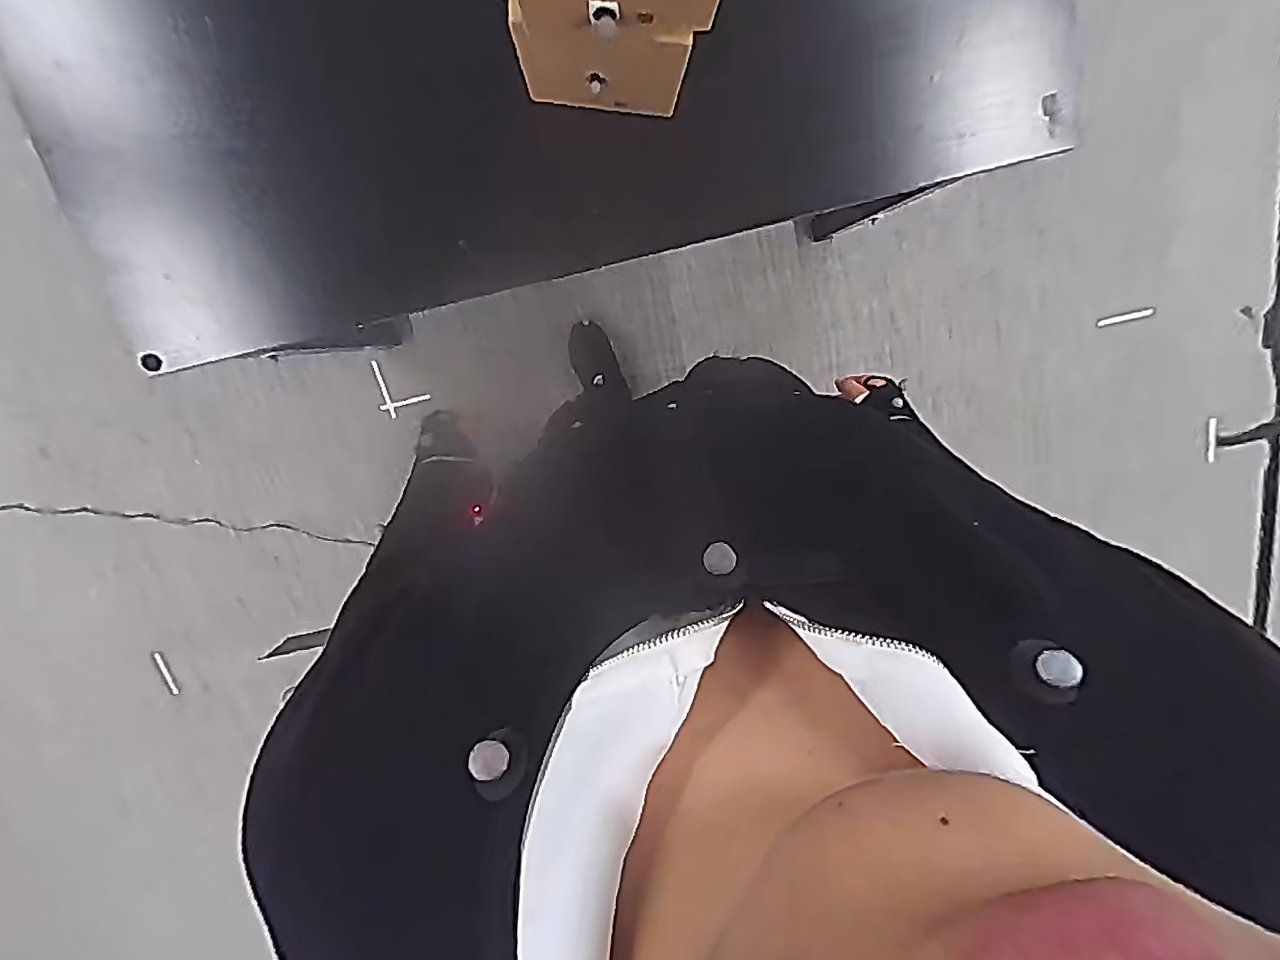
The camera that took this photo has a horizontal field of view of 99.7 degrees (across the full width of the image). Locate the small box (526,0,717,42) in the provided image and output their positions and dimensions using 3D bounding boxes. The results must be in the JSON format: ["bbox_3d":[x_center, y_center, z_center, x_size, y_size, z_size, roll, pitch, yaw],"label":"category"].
[{"bbox_3d":[-0.020,-0.463,0.389,0.168,0.176,0.179,-5,106,-1],"label":"small box"}]

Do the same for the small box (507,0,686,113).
[{"bbox_3d":[-0.034,-0.504,0.546,0.168,0.176,0.179,4,104,-5],"label":"small box"}]
